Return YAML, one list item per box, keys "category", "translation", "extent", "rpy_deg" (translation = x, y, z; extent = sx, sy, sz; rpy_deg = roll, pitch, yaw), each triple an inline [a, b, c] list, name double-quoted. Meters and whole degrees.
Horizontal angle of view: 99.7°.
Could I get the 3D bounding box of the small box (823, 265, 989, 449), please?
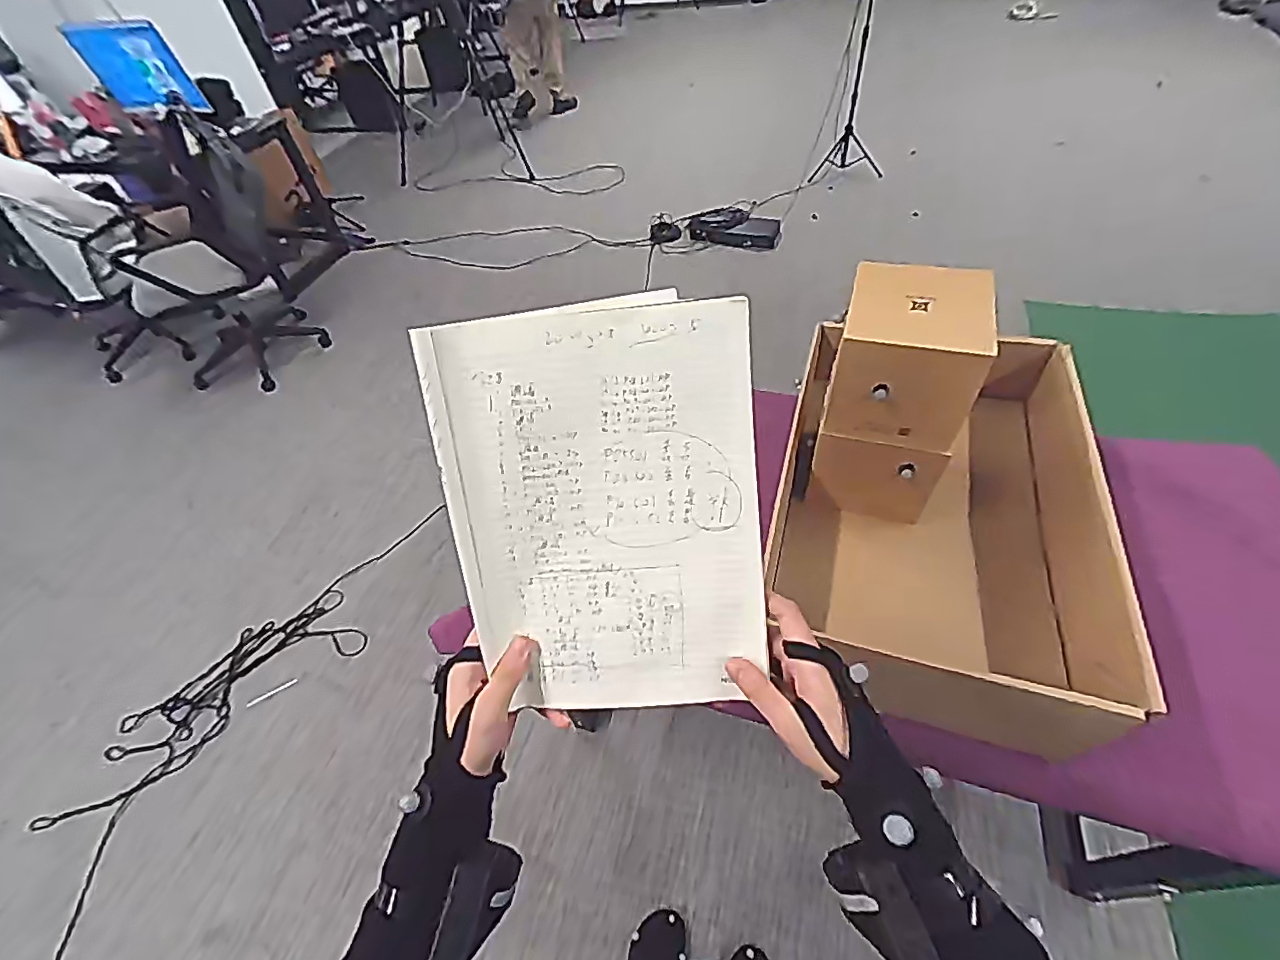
- category: "small box"
  translation: [0.350, -0.164, 0.732]
  extent: [0.168, 0.176, 0.179]
  rpy_deg: [12, 53, 17]
